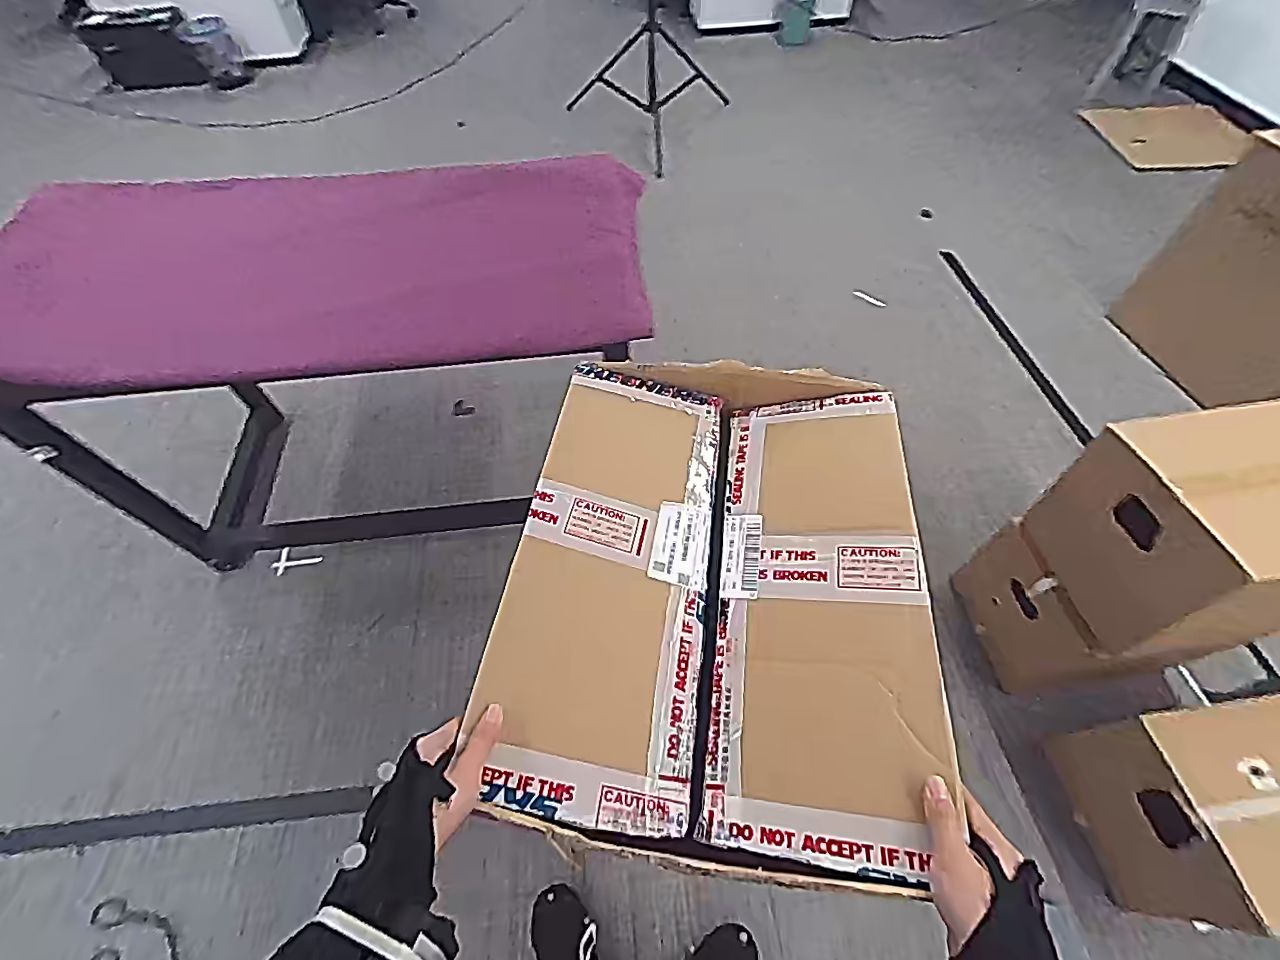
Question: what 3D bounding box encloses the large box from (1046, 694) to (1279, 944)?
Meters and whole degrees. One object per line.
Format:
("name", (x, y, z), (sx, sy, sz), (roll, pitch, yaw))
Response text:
("large box", (1.110, 0.609, 1.010), (0.408, 0.320, 0.320), (-8, 55, -2))
